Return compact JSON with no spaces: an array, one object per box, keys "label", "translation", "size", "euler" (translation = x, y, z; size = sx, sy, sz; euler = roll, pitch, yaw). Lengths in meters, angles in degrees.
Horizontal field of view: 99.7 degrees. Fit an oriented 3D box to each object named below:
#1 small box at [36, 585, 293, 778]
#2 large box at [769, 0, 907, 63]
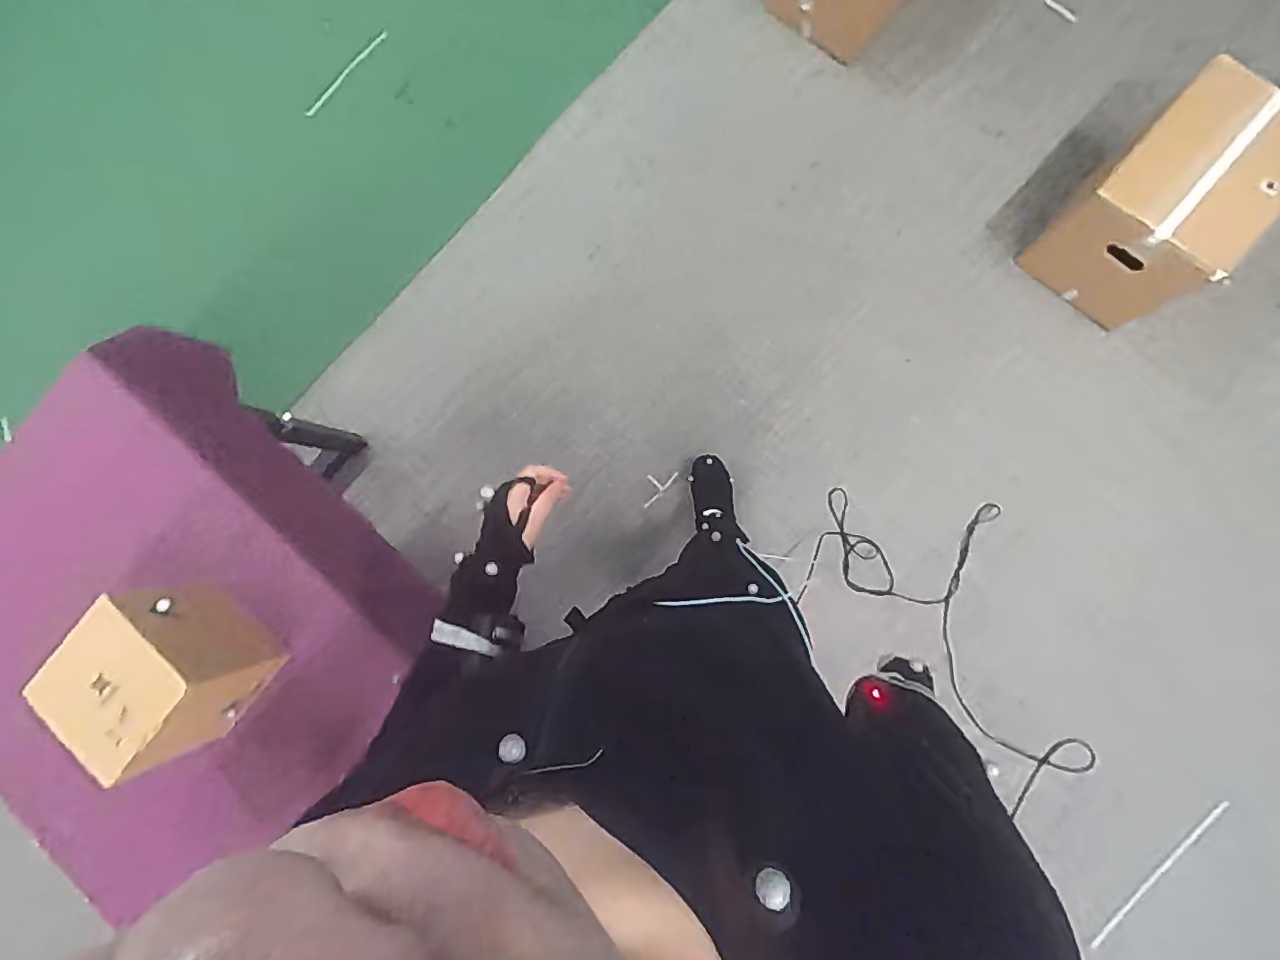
[{"label":"small box","translation":[-0.649,0.263,0.759],"size":[0.179,0.176,0.168],"euler":[40,91,7]},{"label":"large box","translation":[0.600,-1.447,1.429],"size":[0.320,0.320,0.408],"euler":[42,89,8]}]
